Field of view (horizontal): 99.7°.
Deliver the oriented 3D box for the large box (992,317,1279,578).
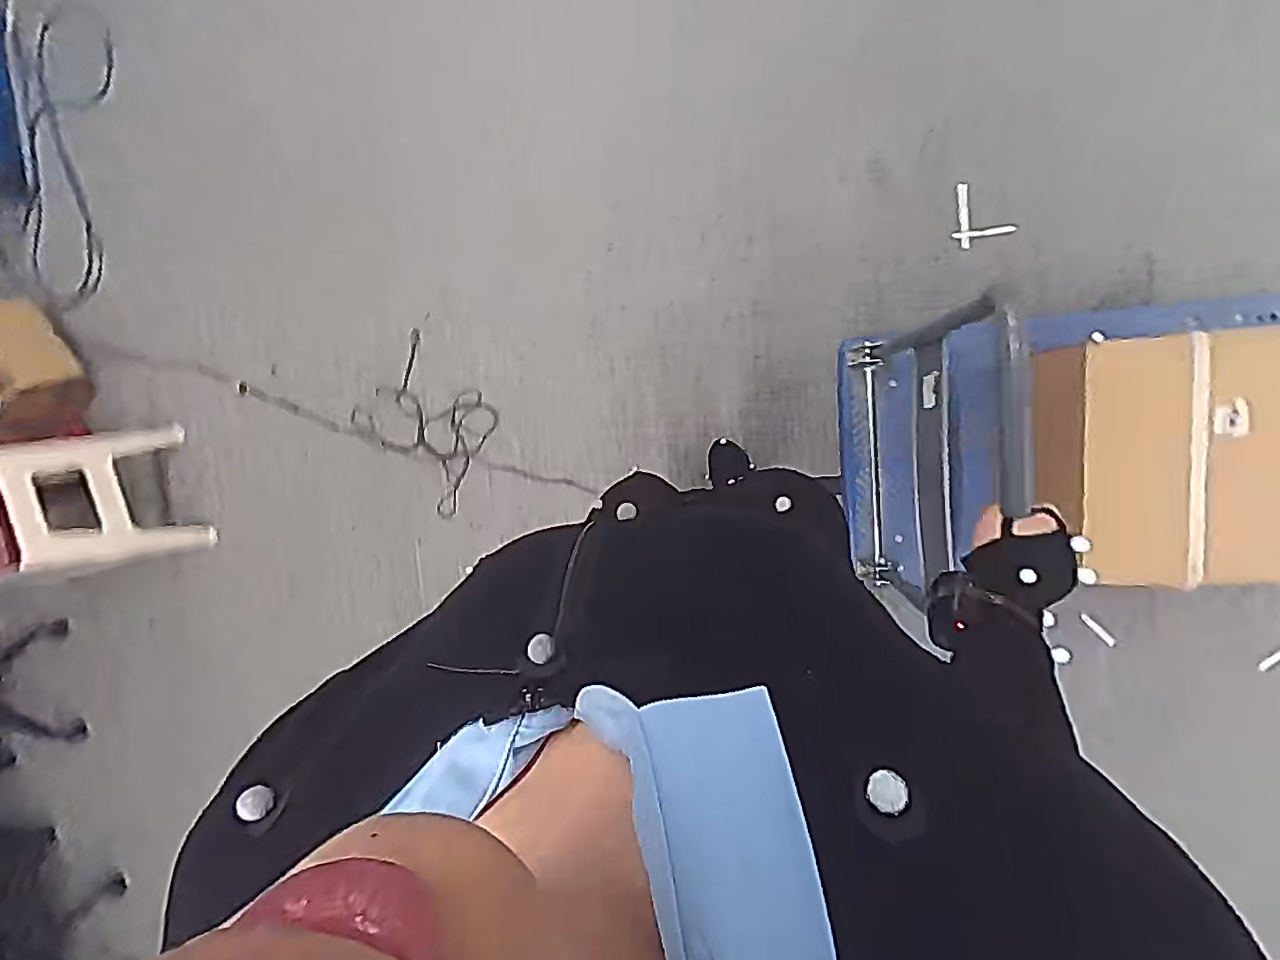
[{"bbox_3d":[0.894,-0.051,1.003,0.320,0.320,0.408,-3,93,9],"label":"large box"}]
